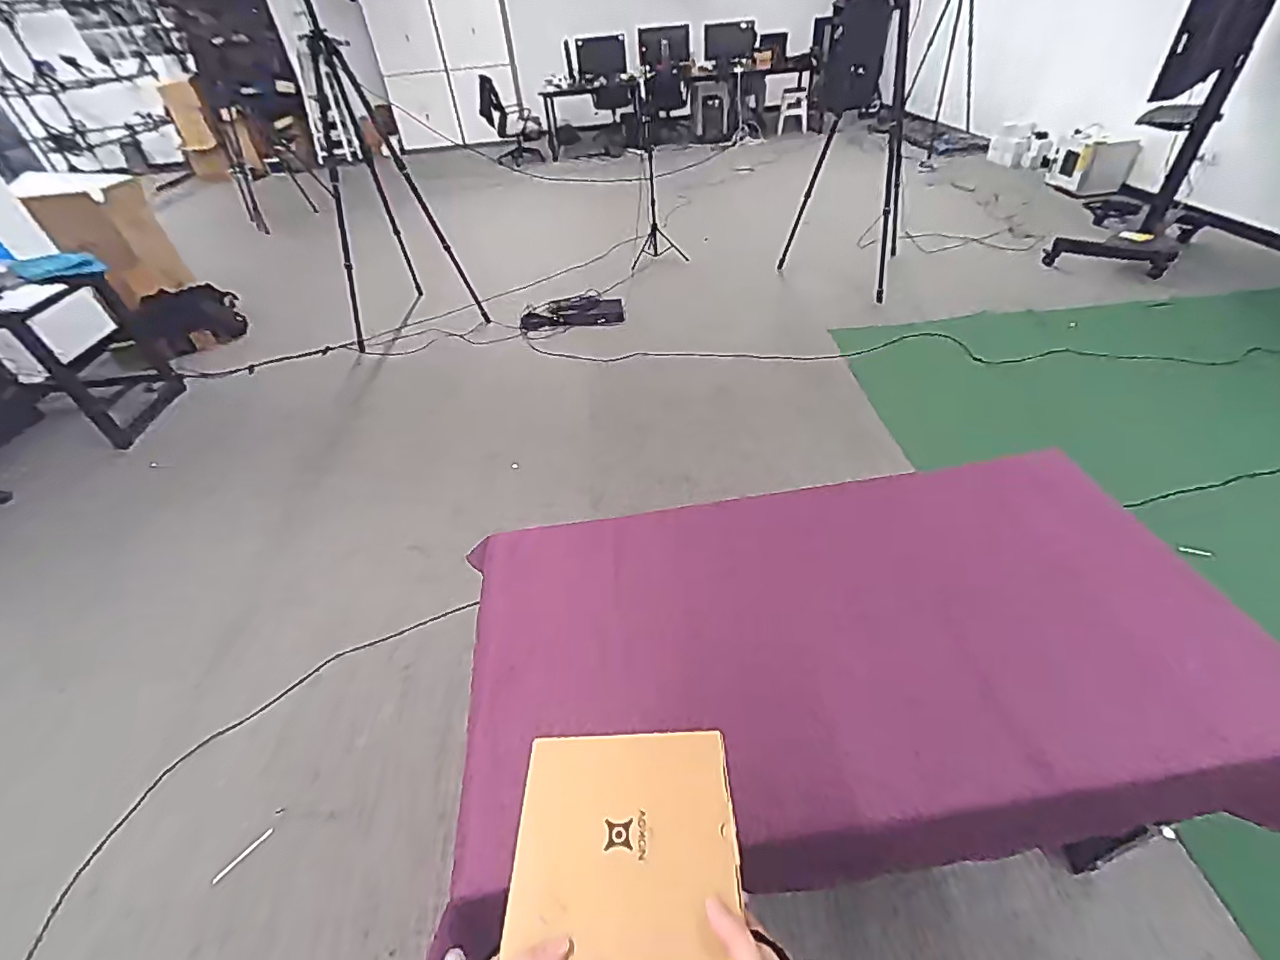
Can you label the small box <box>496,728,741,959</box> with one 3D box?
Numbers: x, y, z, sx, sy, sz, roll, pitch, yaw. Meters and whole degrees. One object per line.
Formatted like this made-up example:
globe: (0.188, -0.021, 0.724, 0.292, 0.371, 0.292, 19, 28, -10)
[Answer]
small box: (-0.006, 0.346, 0.482, 0.179, 0.176, 0.168, -4, 36, 4)
